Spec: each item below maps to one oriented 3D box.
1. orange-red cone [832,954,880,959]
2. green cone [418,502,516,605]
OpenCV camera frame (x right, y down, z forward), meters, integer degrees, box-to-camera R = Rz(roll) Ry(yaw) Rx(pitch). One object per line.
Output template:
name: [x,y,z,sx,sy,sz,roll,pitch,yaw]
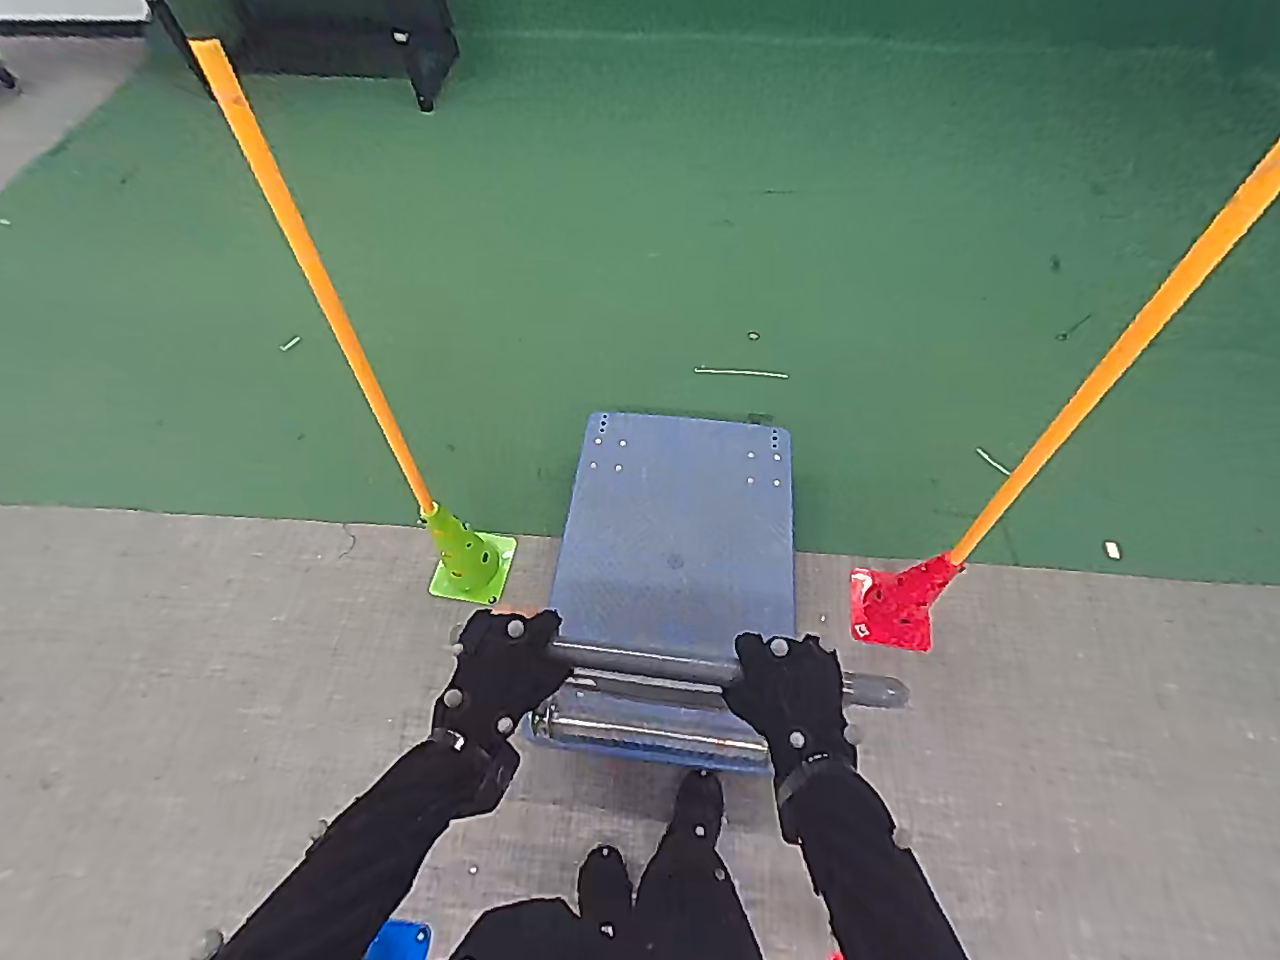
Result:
orange-red cone: [0.459,0.959,0.890,0.199,0.360,0.198,2,59,5]
green cone: [-0.470,0.156,1.372,0.202,0.368,0.200,8,60,6]
